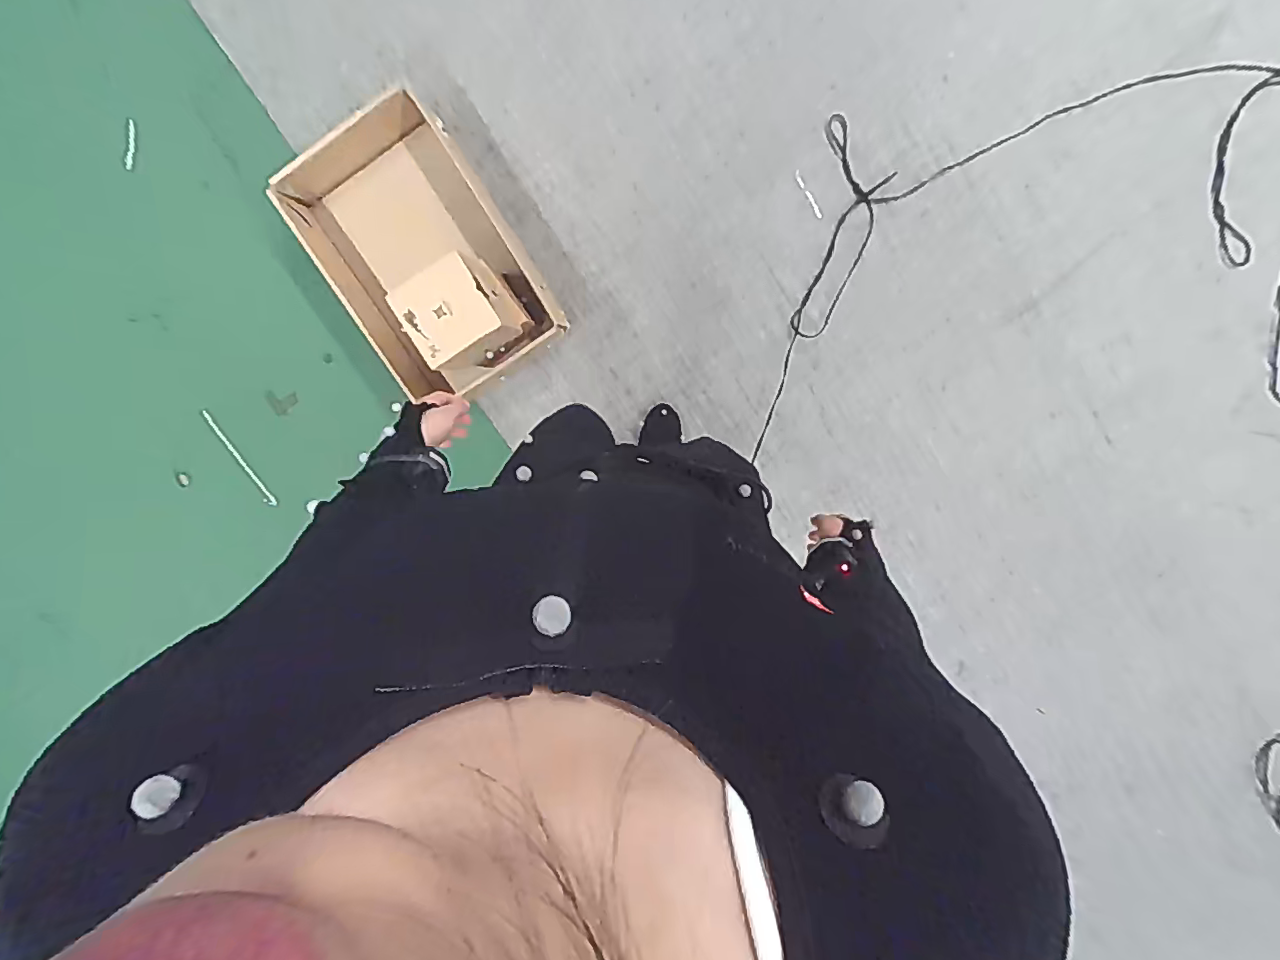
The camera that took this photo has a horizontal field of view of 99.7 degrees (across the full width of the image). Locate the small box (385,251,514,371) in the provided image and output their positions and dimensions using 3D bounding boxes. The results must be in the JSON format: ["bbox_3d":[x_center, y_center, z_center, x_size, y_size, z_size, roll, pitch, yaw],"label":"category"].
[{"bbox_3d":[-0.380,-0.342,1.125,0.179,0.176,0.168,-30,98,6],"label":"small box"}]

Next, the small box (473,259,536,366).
[{"bbox_3d":[-0.372,-0.385,1.284,0.179,0.176,0.168,-36,97,6],"label":"small box"}]
